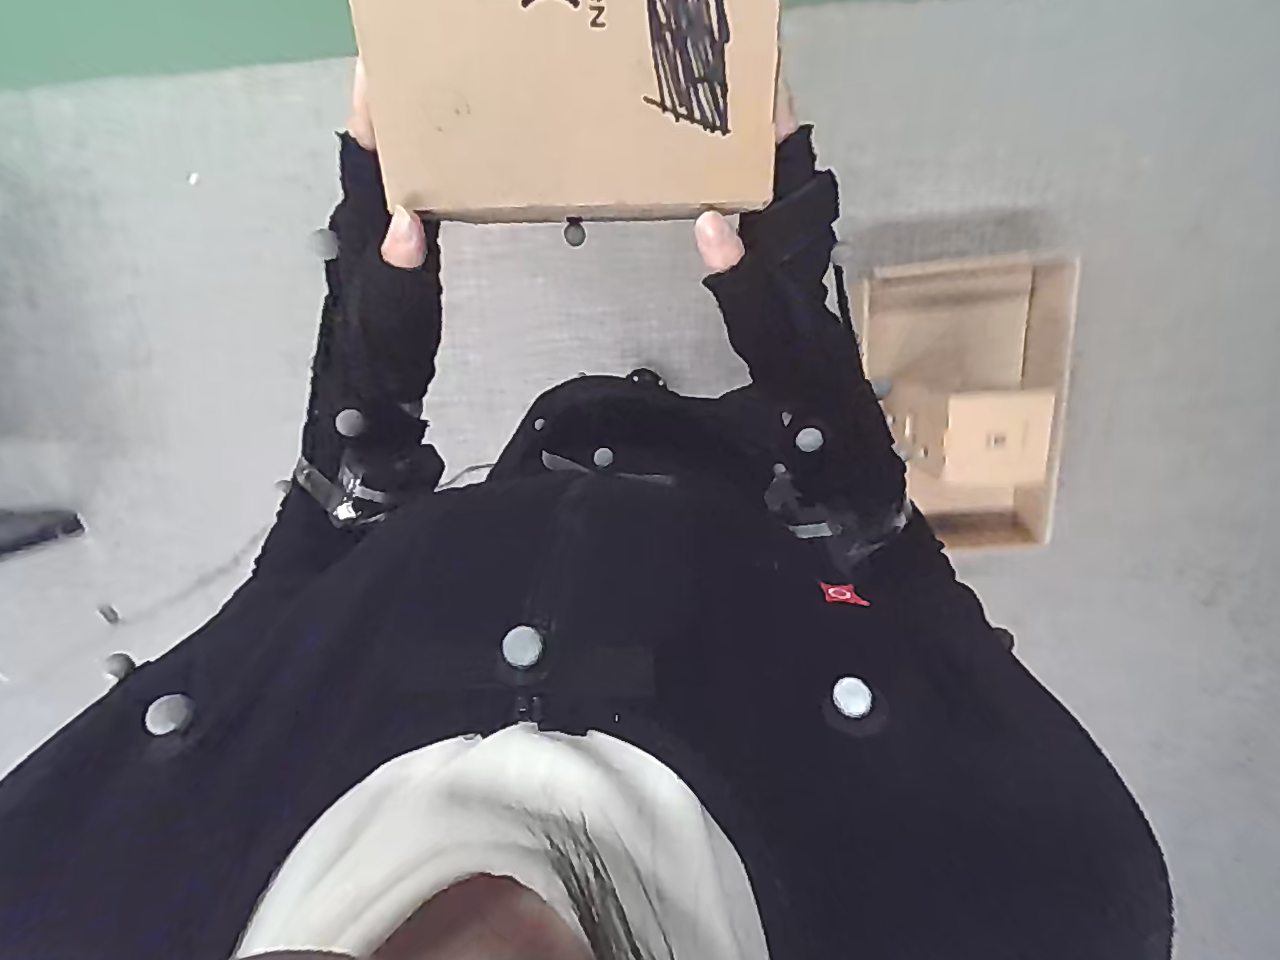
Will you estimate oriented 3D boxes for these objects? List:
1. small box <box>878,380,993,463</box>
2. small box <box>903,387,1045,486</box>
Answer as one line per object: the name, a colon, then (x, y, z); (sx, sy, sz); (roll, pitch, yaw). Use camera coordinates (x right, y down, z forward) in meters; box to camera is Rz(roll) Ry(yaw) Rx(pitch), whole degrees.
small box: (0.646, -0.132, 1.204); (0.179, 0.176, 0.168); (0, 105, 6)
small box: (0.632, -0.089, 1.048); (0.179, 0.176, 0.168); (-2, 106, 5)
